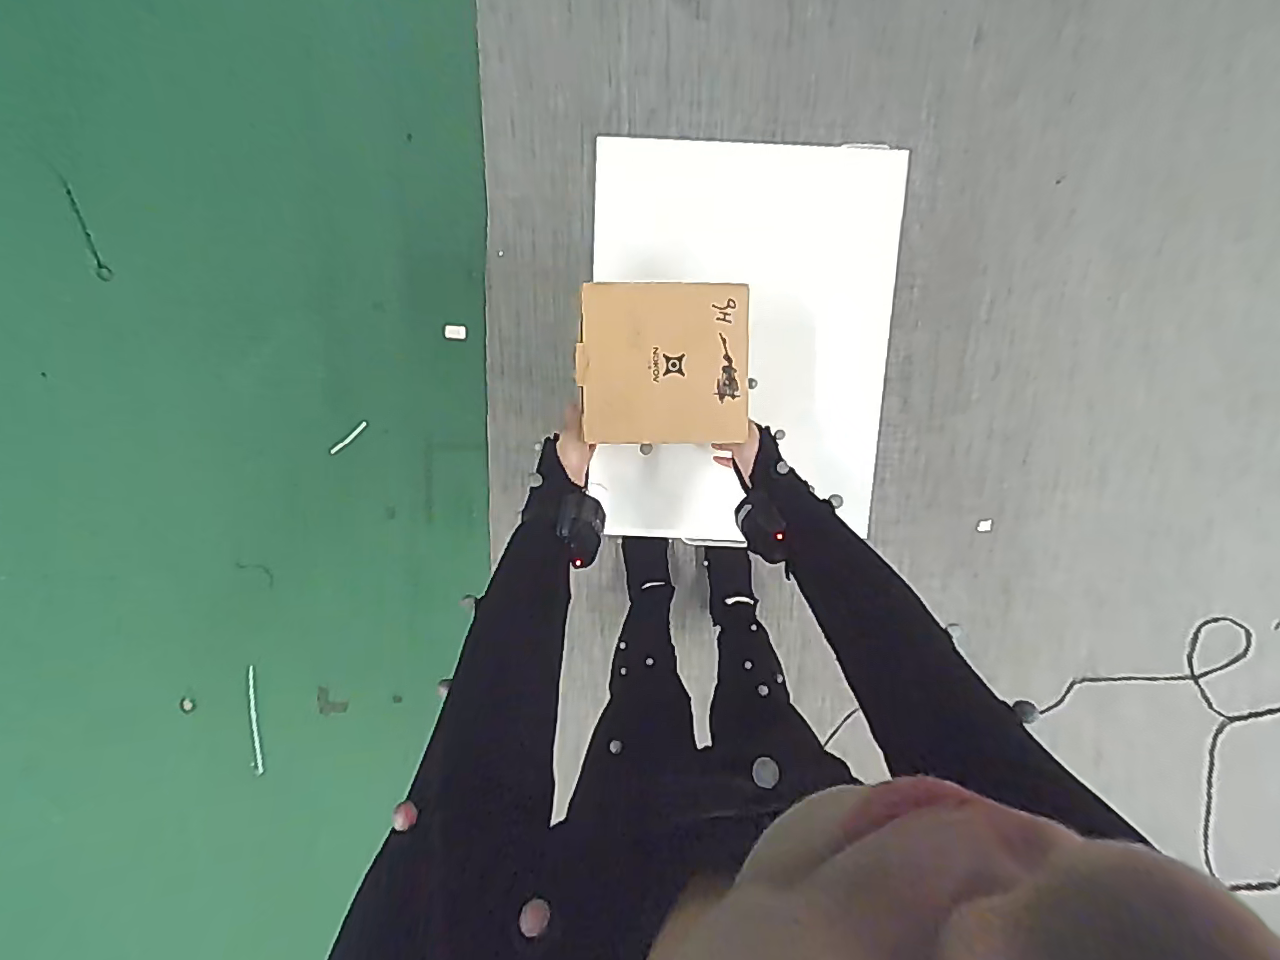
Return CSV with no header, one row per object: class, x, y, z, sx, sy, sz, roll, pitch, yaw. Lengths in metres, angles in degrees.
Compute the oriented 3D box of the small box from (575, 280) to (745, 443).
small box,0.018,-0.127,0.635,0.179,0.176,0.168,0,95,-3
